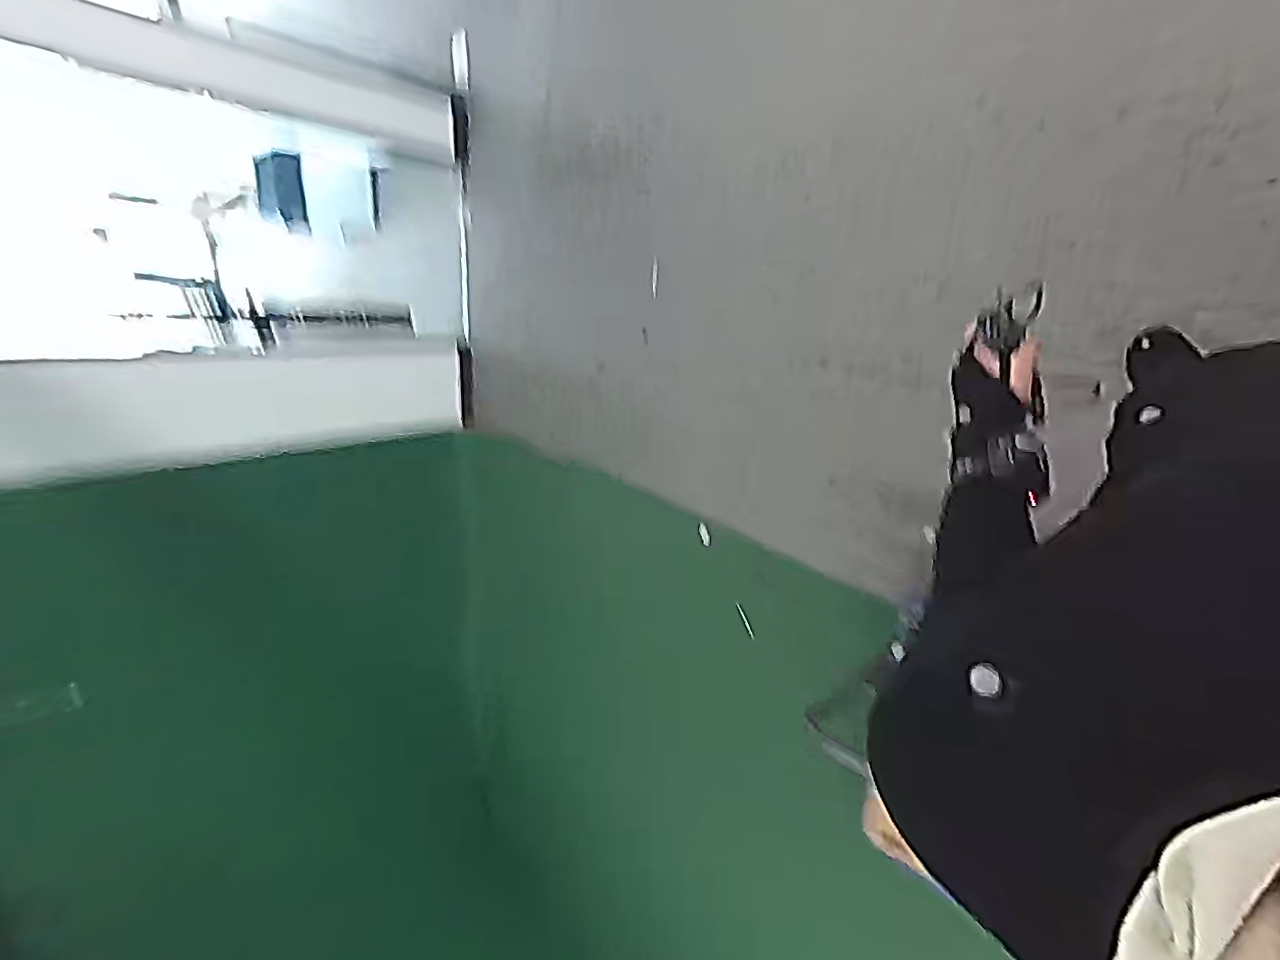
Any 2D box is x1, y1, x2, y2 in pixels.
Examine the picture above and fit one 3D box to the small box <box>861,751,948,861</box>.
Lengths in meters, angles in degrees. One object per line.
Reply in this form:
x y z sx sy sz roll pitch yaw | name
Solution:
0.742 0.897 1.513 0.168 0.176 0.179 14 110 42 | small box
